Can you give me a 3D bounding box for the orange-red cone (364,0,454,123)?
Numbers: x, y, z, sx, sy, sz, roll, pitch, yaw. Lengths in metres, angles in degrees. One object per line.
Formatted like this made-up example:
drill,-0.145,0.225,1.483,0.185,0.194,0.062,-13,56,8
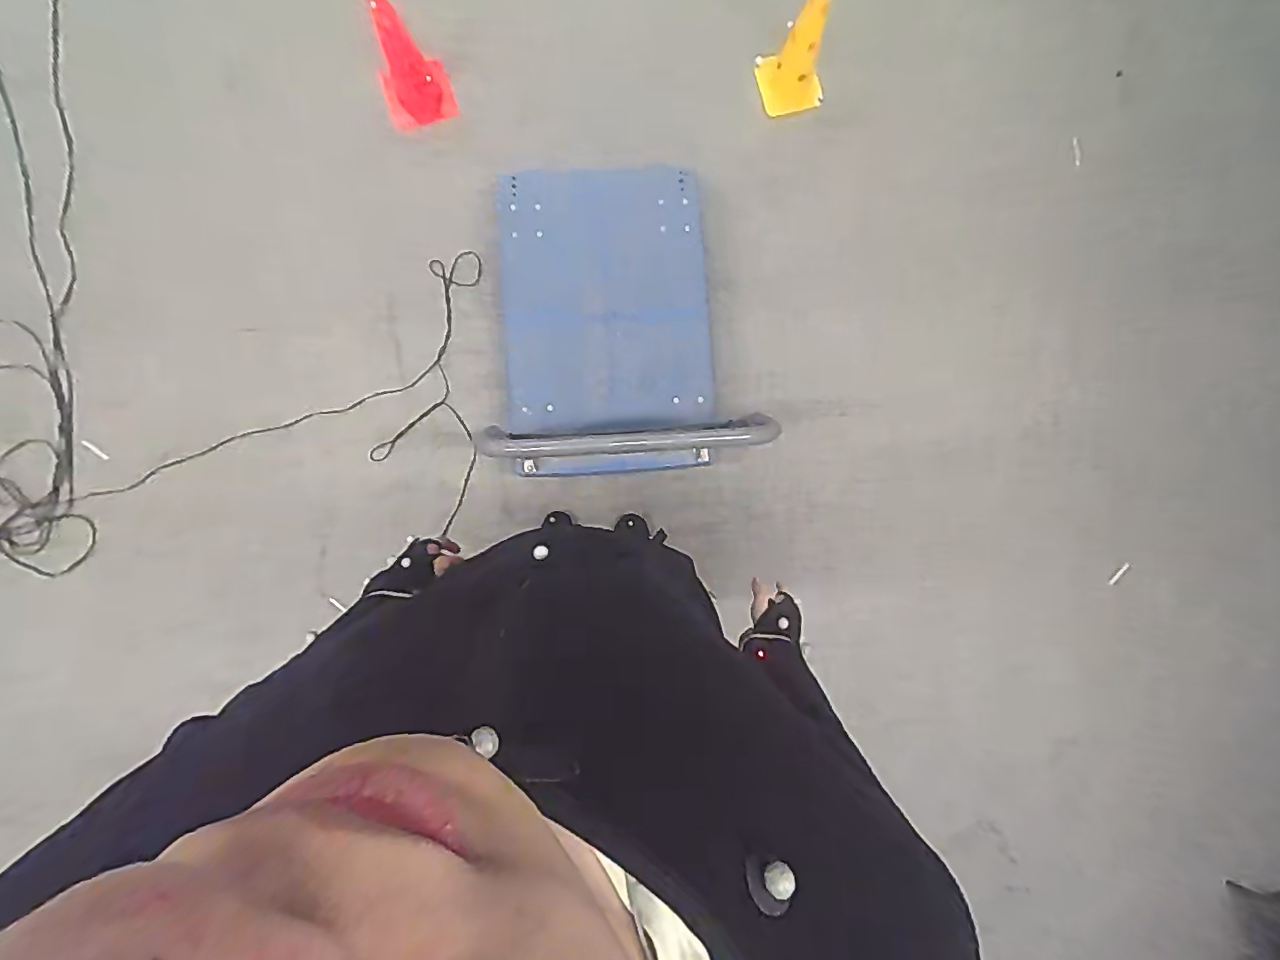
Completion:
orange-red cone,-0.690,-1.234,1.516,0.199,0.360,0.198,-19,87,-3
